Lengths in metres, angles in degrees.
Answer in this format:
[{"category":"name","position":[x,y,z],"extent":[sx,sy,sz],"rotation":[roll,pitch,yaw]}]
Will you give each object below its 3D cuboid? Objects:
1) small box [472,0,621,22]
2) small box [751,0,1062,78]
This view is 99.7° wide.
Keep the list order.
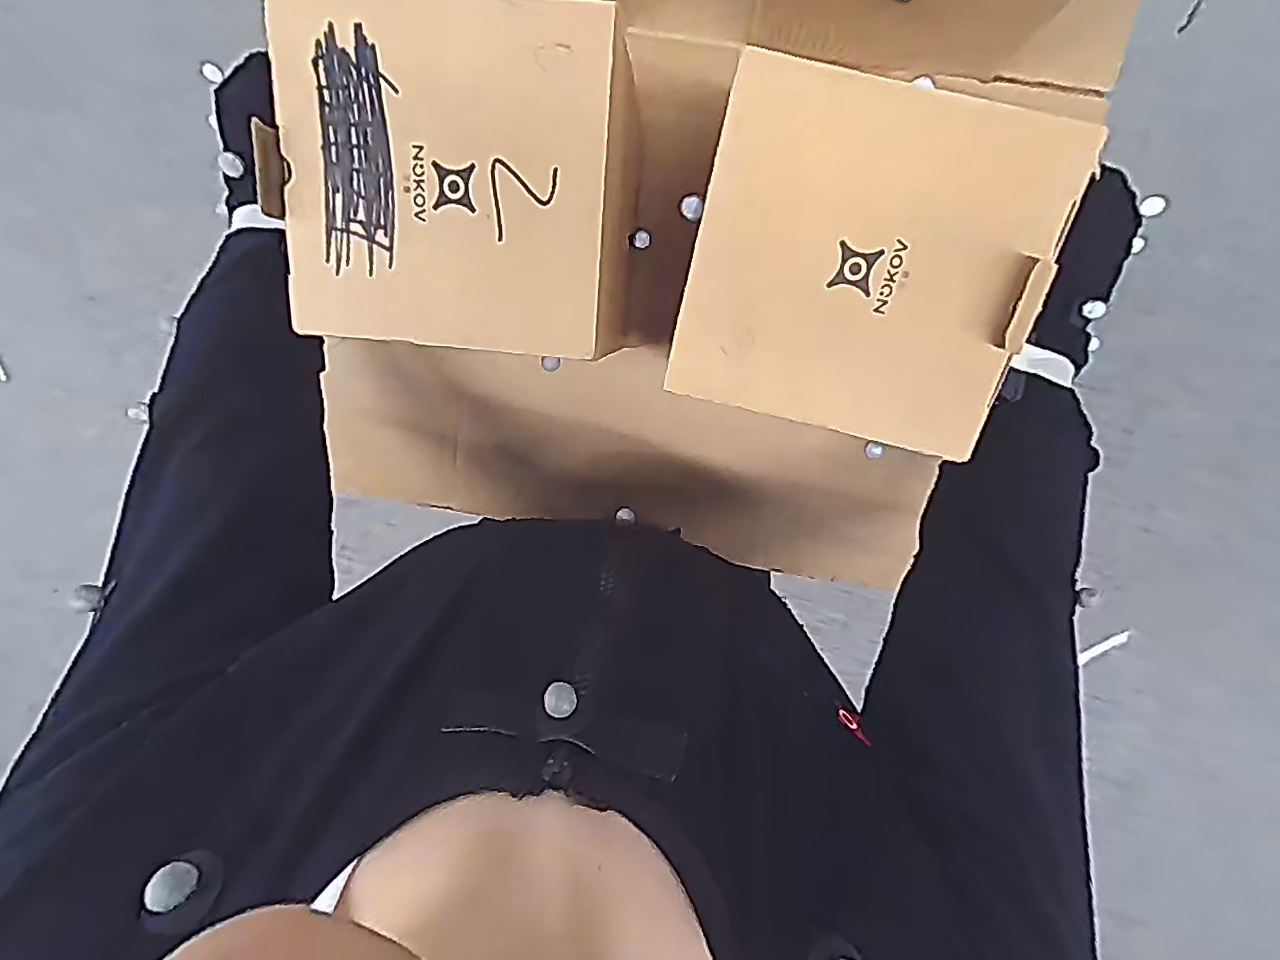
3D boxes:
[{"category":"small box","position":[-0.087,-0.413,0.307],"extent":[0.168,0.176,0.179],"rotation":[9,100,2]},{"category":"small box","position":[0.170,-0.360,0.296],"extent":[0.179,0.176,0.168],"rotation":[11,101,3]}]
